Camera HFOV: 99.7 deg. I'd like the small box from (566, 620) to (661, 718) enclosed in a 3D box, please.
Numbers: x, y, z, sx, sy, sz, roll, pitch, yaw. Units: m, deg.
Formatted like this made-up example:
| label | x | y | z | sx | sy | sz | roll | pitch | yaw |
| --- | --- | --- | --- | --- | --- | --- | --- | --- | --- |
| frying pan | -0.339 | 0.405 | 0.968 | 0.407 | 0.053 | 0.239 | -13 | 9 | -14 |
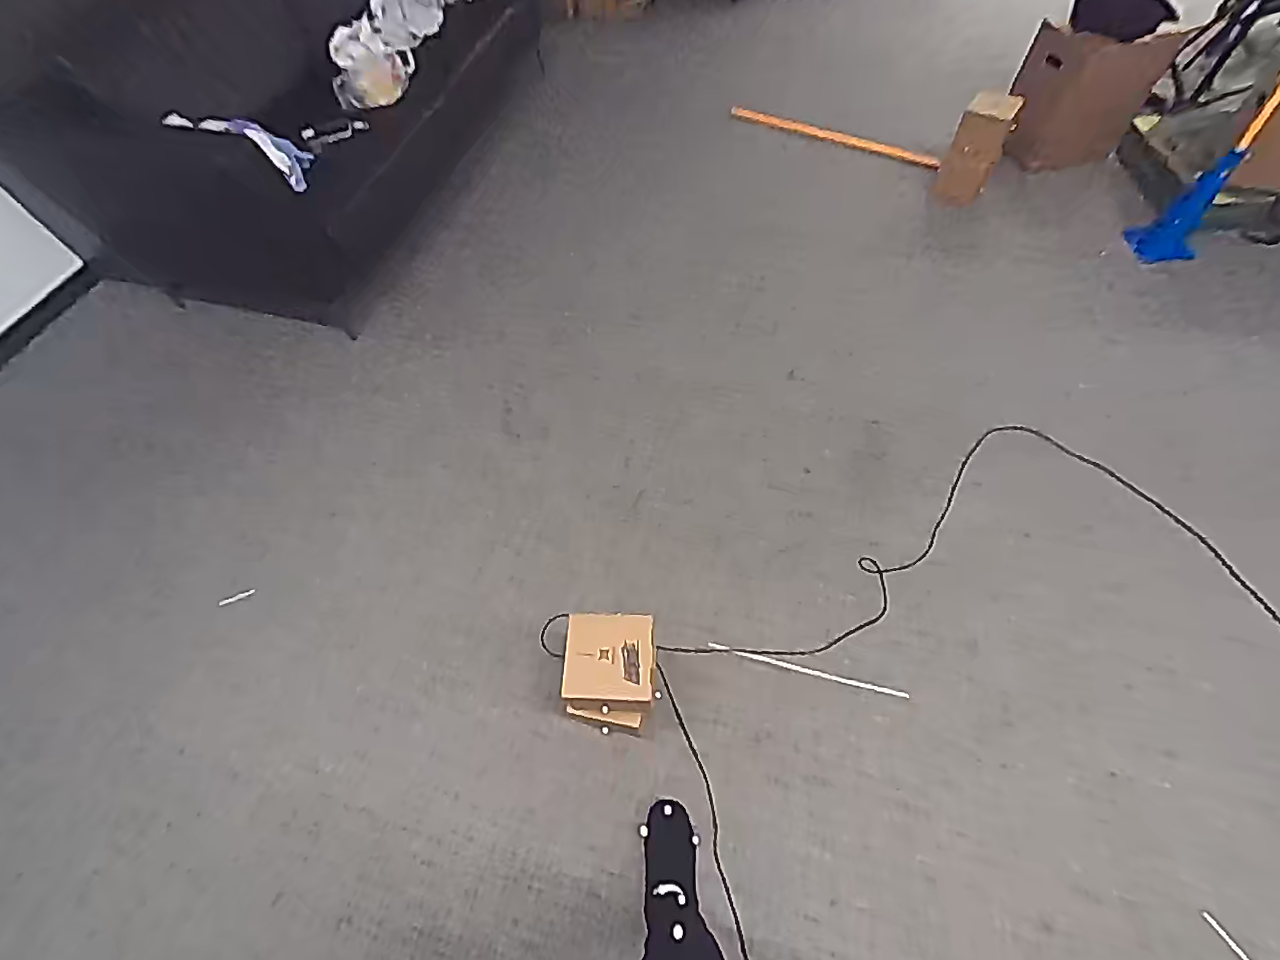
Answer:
| label | x | y | z | sx | sy | sz | roll | pitch | yaw |
| --- | --- | --- | --- | --- | --- | --- | --- | --- | --- |
| small box | -0.047 | 0.403 | 1.143 | 0.179 | 0.176 | 0.168 | -1 | 58 | 6 |
